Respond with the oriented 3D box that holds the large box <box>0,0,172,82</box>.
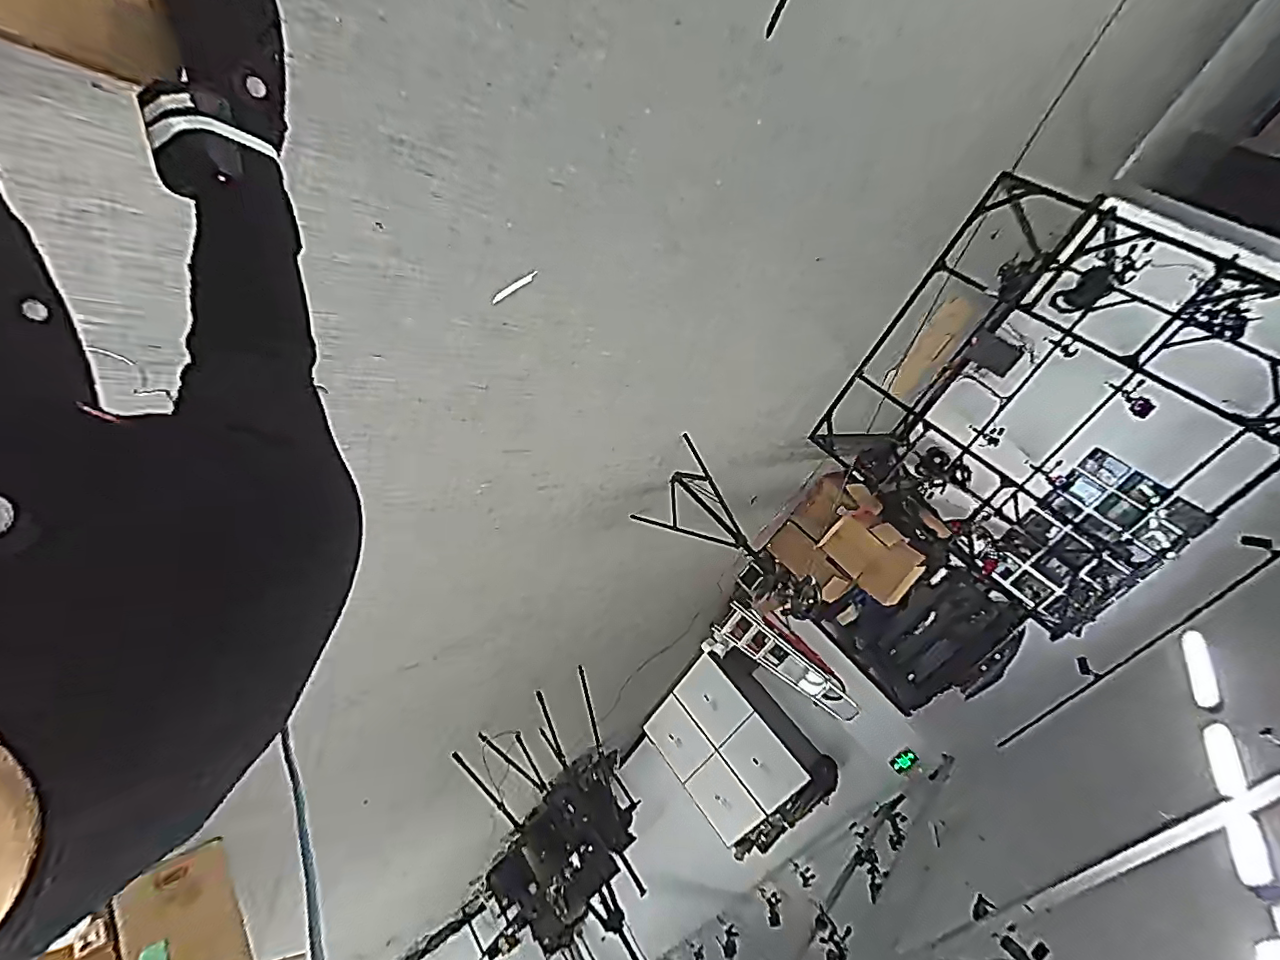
[{"bbox_3d":[-0.551,-0.492,0.286,0.408,0.320,0.320,-9,124,-56],"label":"large box"}]
